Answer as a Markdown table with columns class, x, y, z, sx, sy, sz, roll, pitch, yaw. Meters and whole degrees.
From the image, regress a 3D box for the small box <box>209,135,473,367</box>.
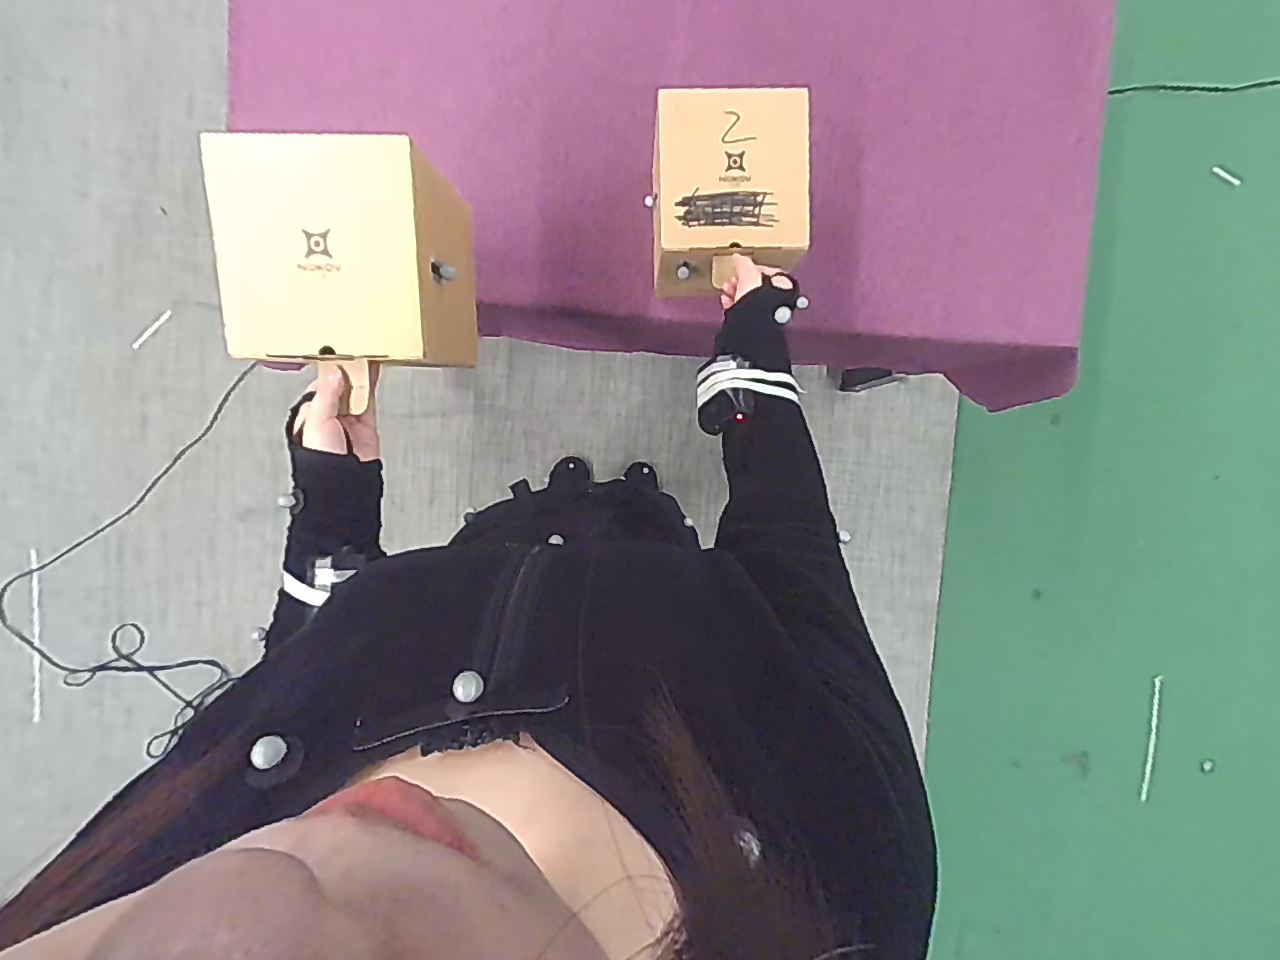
| class | x | y | z | sx | sy | sz | roll | pitch | yaw |
| --- | --- | --- | --- | --- | --- | --- | --- | --- | --- |
| small box | -0.268 | -0.204 | 0.529 | 0.168 | 0.176 | 0.179 | 0 | 101 | -2 |
